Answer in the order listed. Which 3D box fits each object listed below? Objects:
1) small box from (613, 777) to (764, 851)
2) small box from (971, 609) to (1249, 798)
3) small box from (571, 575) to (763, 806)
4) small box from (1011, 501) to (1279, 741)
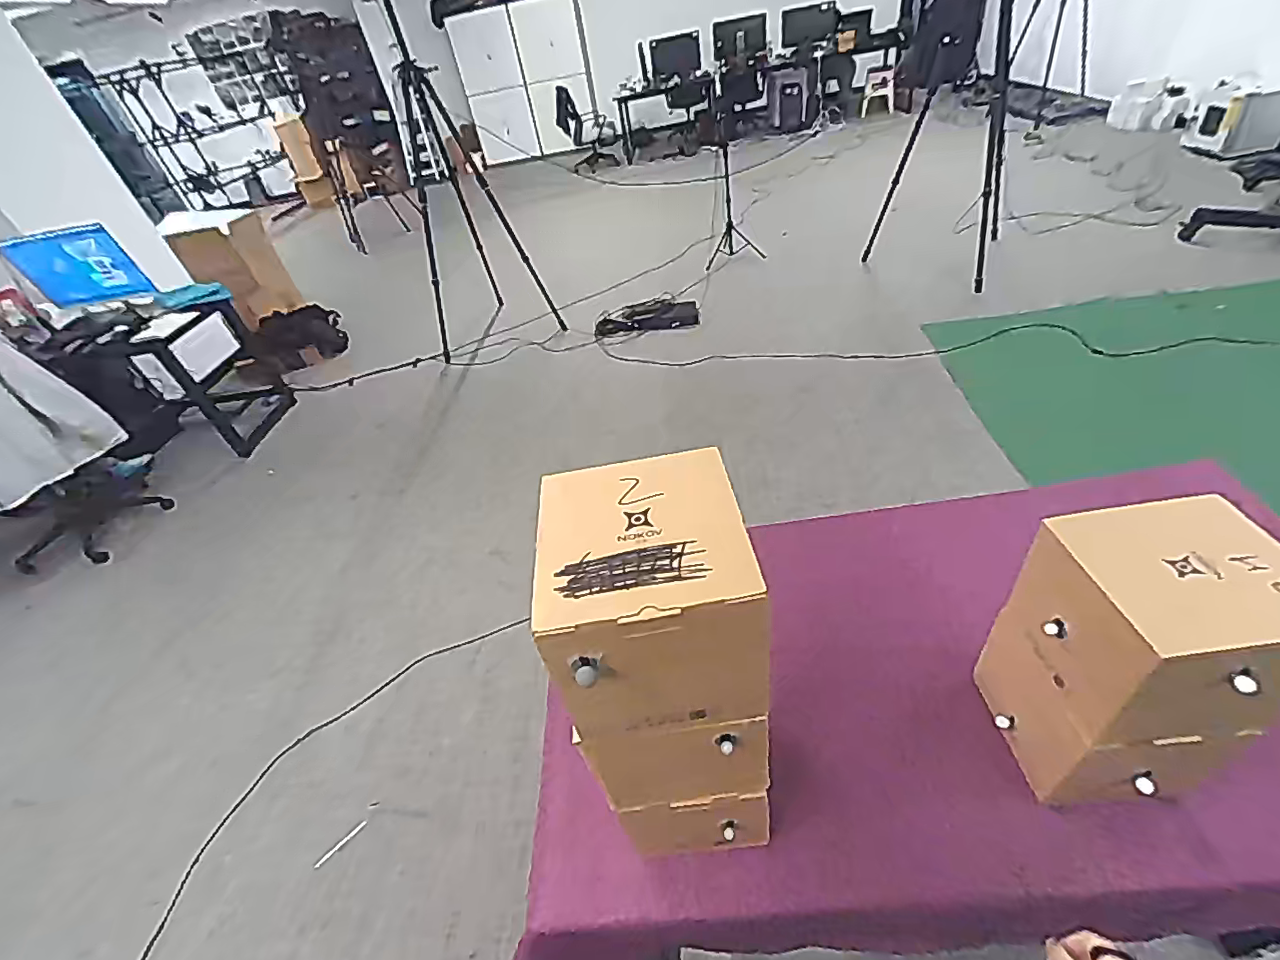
[{"bbox_3d":[0.060,0.351,0.690,0.168,0.176,0.179,-8,40,3],"label":"small box"},{"bbox_3d":[0.543,0.270,0.661,0.168,0.176,0.179,-8,41,5],"label":"small box"},{"bbox_3d":[0.030,0.230,0.586,0.179,0.176,0.168,-9,40,1],"label":"small box"},{"bbox_3d":[0.518,0.147,0.553,0.179,0.176,0.168,-8,40,5],"label":"small box"}]
